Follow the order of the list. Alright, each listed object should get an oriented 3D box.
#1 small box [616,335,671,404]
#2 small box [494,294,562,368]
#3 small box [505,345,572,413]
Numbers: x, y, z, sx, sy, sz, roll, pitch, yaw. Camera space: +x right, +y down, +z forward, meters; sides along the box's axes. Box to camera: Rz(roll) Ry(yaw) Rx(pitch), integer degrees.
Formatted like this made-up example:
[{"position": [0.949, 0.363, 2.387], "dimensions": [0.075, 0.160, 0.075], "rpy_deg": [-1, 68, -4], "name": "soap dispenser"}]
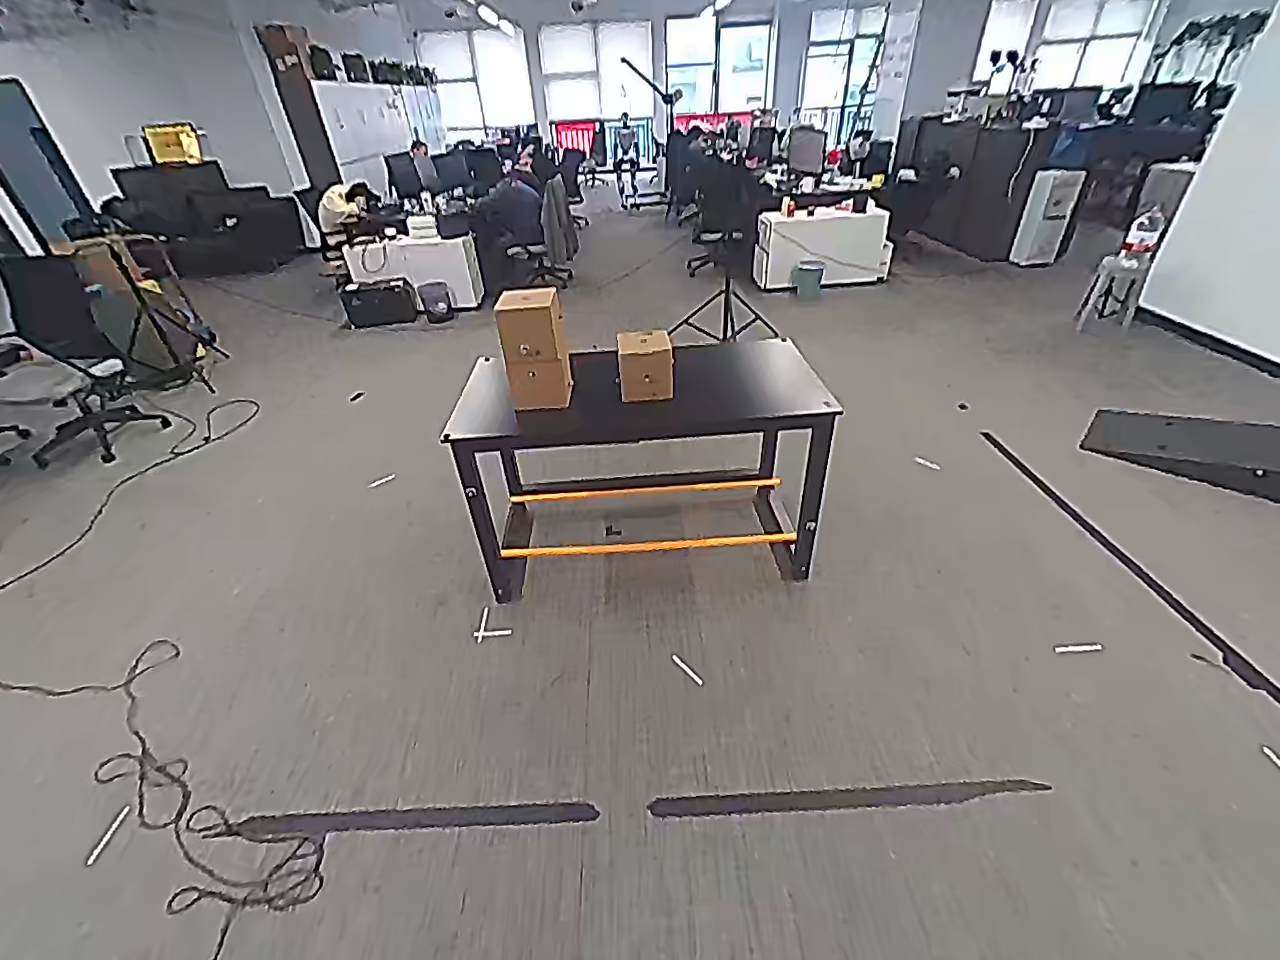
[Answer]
[{"position": [0.010, -0.358, 1.775], "dimensions": [0.168, 0.176, 0.179], "rpy_deg": [-5, 35, -1], "name": "small box"}, {"position": [-0.335, -0.457, 1.662], "dimensions": [0.168, 0.176, 0.179], "rpy_deg": [-5, 36, 0], "name": "small box"}, {"position": [-0.325, -0.325, 1.757], "dimensions": [0.179, 0.176, 0.168], "rpy_deg": [-3, 35, 0], "name": "small box"}]
